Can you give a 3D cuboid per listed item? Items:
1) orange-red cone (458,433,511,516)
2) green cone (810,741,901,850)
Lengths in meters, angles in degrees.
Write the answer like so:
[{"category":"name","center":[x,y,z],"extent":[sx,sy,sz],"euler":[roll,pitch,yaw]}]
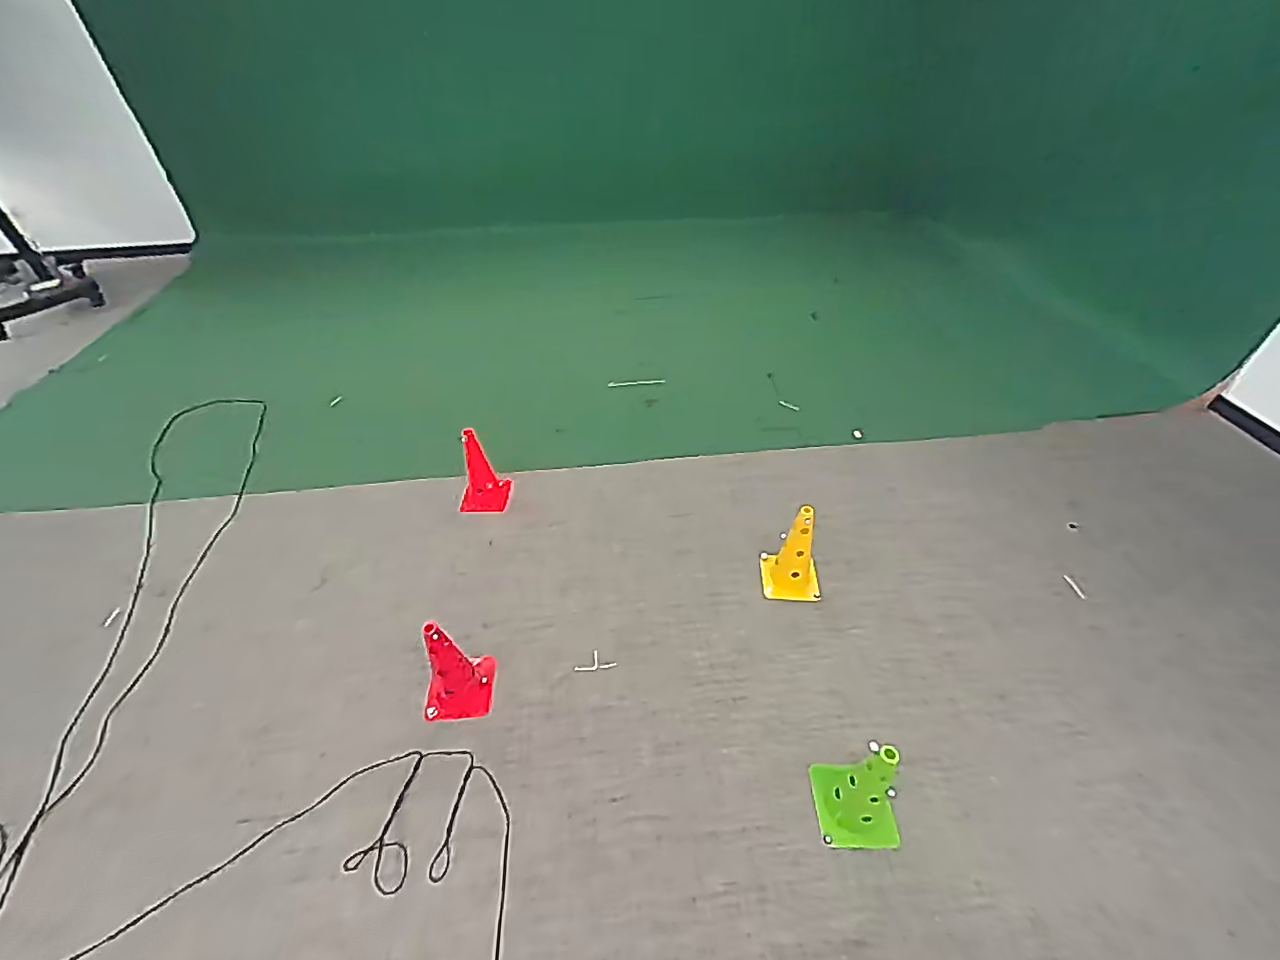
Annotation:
[{"category":"orange-red cone","center":[-0.677,-0.041,2.224],"extent":[0.199,0.360,0.198],"euler":[-1,42,3]},{"category":"green cone","center":[0.573,0.749,1.340],"extent":[0.200,0.368,0.202],"euler":[-1,41,0]}]
